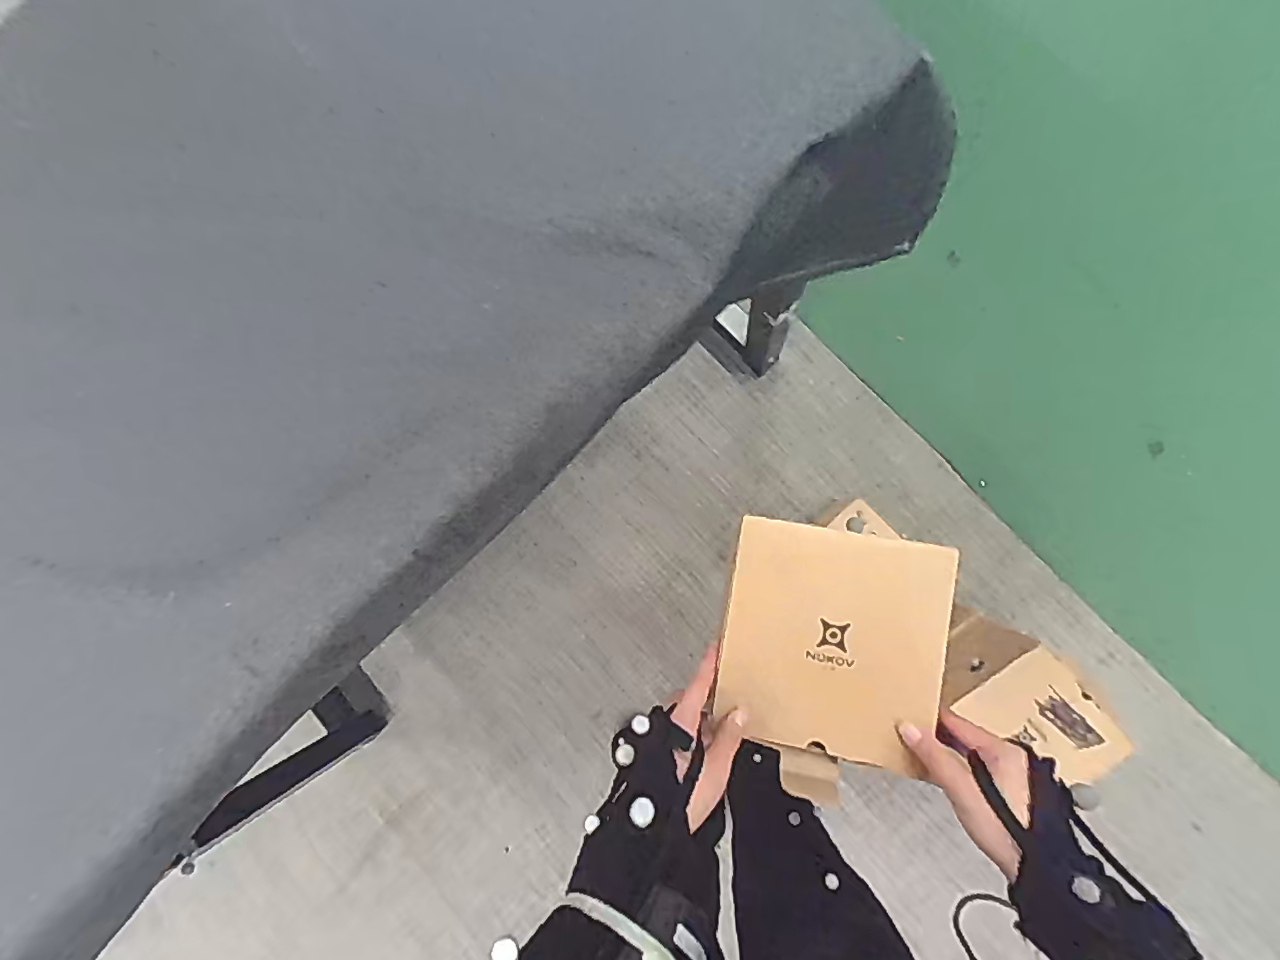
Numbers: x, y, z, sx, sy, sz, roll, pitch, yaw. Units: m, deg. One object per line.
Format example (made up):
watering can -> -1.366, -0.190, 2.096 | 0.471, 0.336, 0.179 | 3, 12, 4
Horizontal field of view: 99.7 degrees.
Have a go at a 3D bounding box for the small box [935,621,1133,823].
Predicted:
small box -> 0.510, 0.323, 0.765 | 0.179, 0.176, 0.168 | -39, 81, 6

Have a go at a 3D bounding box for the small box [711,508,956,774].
small box -> 0.158, 0.127, 0.494 | 0.168, 0.176, 0.179 | 9, 86, 9
